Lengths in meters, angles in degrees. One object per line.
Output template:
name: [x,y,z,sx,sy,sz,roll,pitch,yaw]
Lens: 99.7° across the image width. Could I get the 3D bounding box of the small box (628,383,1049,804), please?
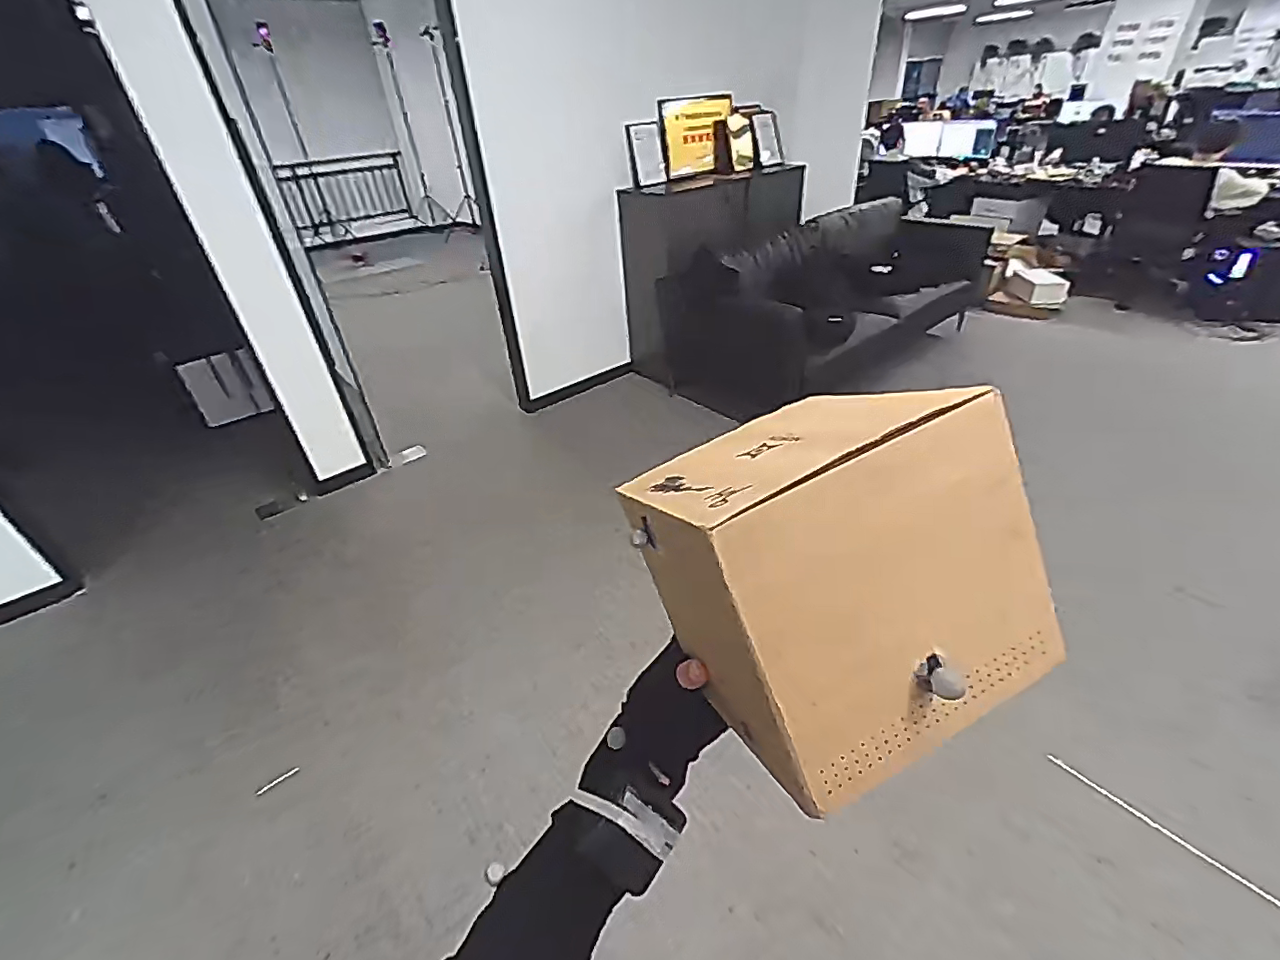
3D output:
small box: [0.116,0.050,0.342,0.179,0.176,0.168,-23,11,-12]
